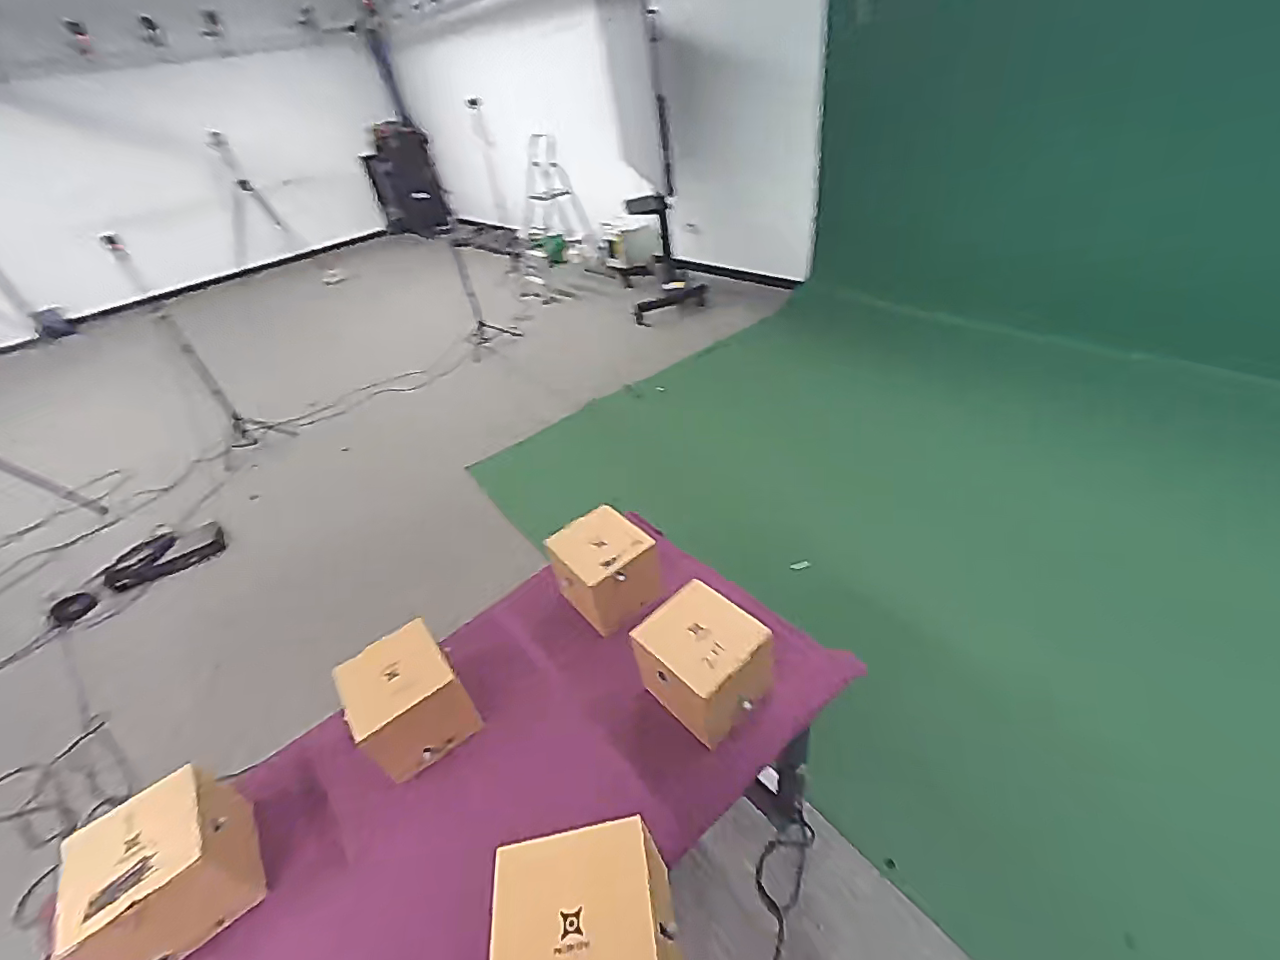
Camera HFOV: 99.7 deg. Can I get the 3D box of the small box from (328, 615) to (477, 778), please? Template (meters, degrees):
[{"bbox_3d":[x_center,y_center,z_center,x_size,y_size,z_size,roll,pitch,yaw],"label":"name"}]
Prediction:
[{"bbox_3d":[-0.421,0.388,0.971,0.168,0.176,0.179,-31,45,-24],"label":"small box"}]

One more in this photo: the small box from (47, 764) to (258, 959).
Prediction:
[{"bbox_3d":[-0.701,0.571,0.795,0.168,0.176,0.179,-31,44,-26],"label":"small box"}]

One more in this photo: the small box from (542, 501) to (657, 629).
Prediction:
[{"bbox_3d":[-0.082,0.182,1.152,0.168,0.176,0.179,-33,44,-25],"label":"small box"}]

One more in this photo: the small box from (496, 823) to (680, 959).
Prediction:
[{"bbox_3d":[-0.048,0.506,0.579,0.168,0.176,0.179,-12,40,0],"label":"small box"}]

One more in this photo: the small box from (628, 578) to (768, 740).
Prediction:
[{"bbox_3d":[0.104,0.313,0.950,0.168,0.176,0.179,-34,45,-26],"label":"small box"}]
